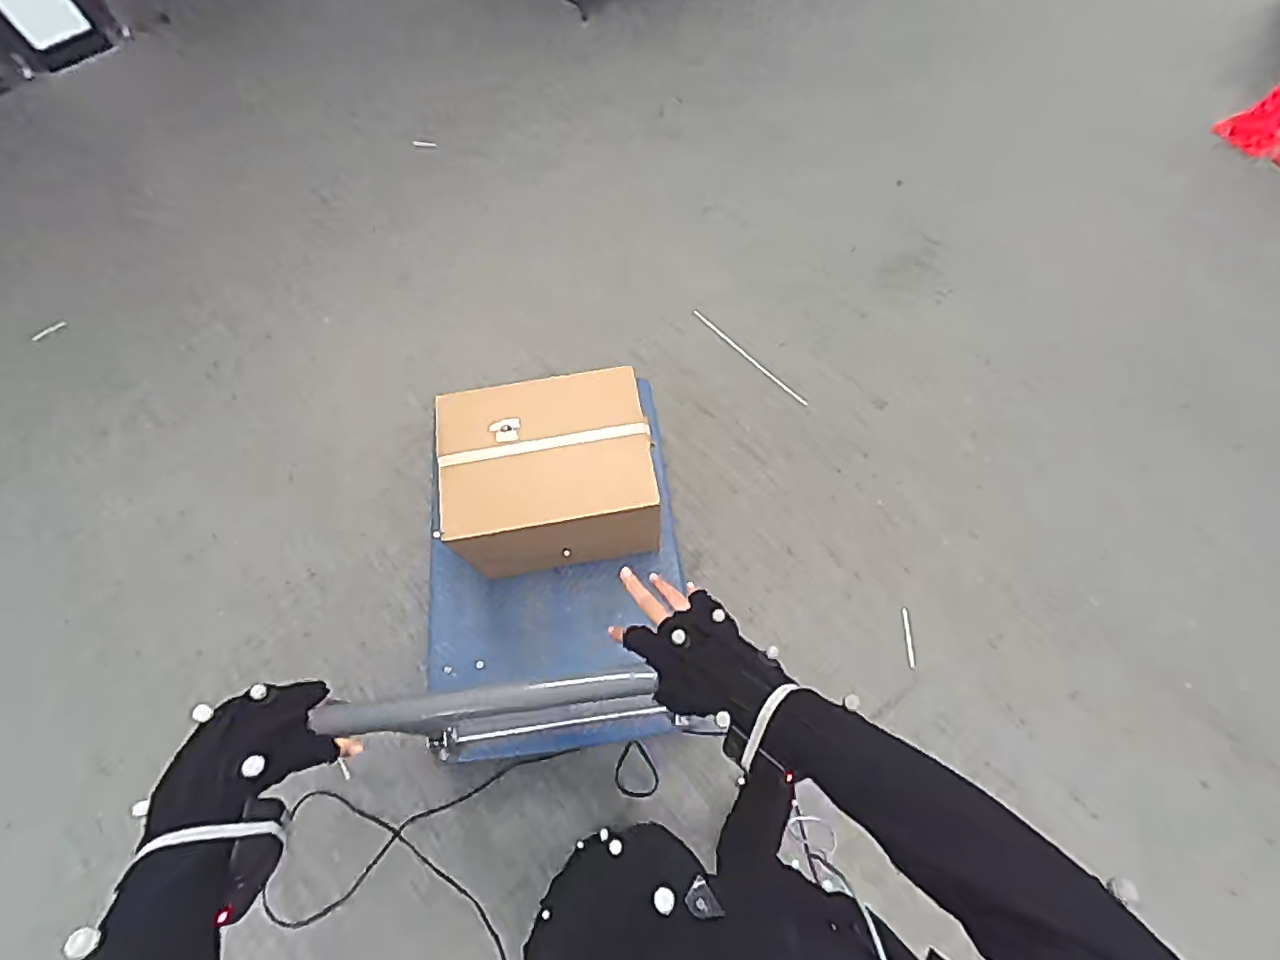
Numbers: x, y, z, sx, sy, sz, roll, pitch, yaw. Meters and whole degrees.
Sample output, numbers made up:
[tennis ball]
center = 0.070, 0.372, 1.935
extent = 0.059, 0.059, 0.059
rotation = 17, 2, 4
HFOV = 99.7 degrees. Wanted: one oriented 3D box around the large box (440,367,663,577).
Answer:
[large box]
center = -0.177, -0.001, 1.183
extent = 0.408, 0.320, 0.320
rotation = -11, 66, -1
